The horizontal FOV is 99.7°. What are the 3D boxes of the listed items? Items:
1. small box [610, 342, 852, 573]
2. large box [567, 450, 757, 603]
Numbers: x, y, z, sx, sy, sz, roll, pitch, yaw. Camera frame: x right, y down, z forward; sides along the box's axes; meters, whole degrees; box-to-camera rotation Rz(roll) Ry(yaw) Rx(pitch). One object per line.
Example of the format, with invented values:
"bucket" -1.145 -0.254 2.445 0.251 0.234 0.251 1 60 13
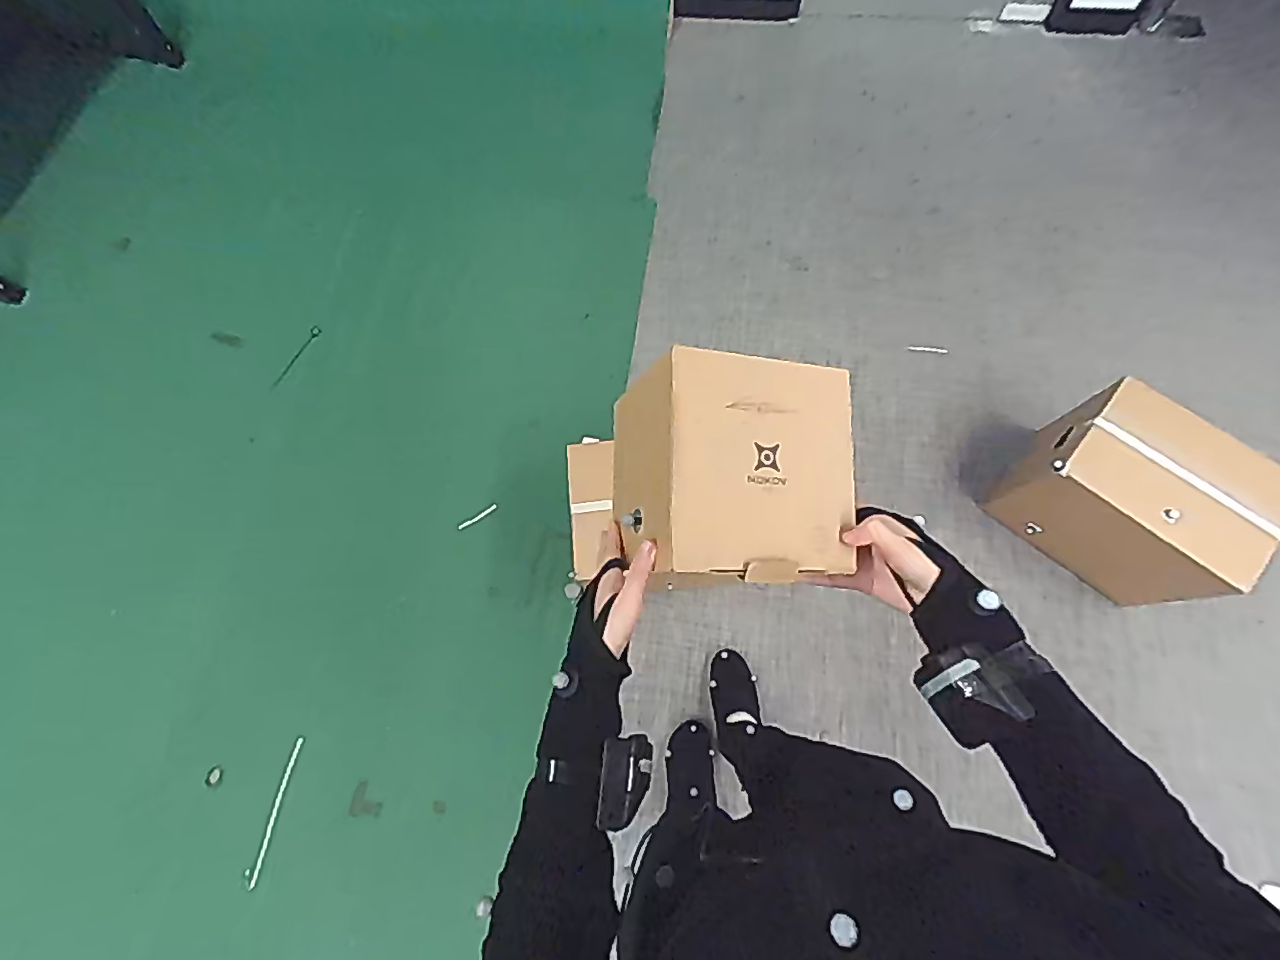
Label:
"small box" 0.072 -0.004 0.504 0.168 0.176 0.179 4 79 -18
"large box" 0.057 0.111 1.317 0.408 0.320 0.320 -6 69 2
